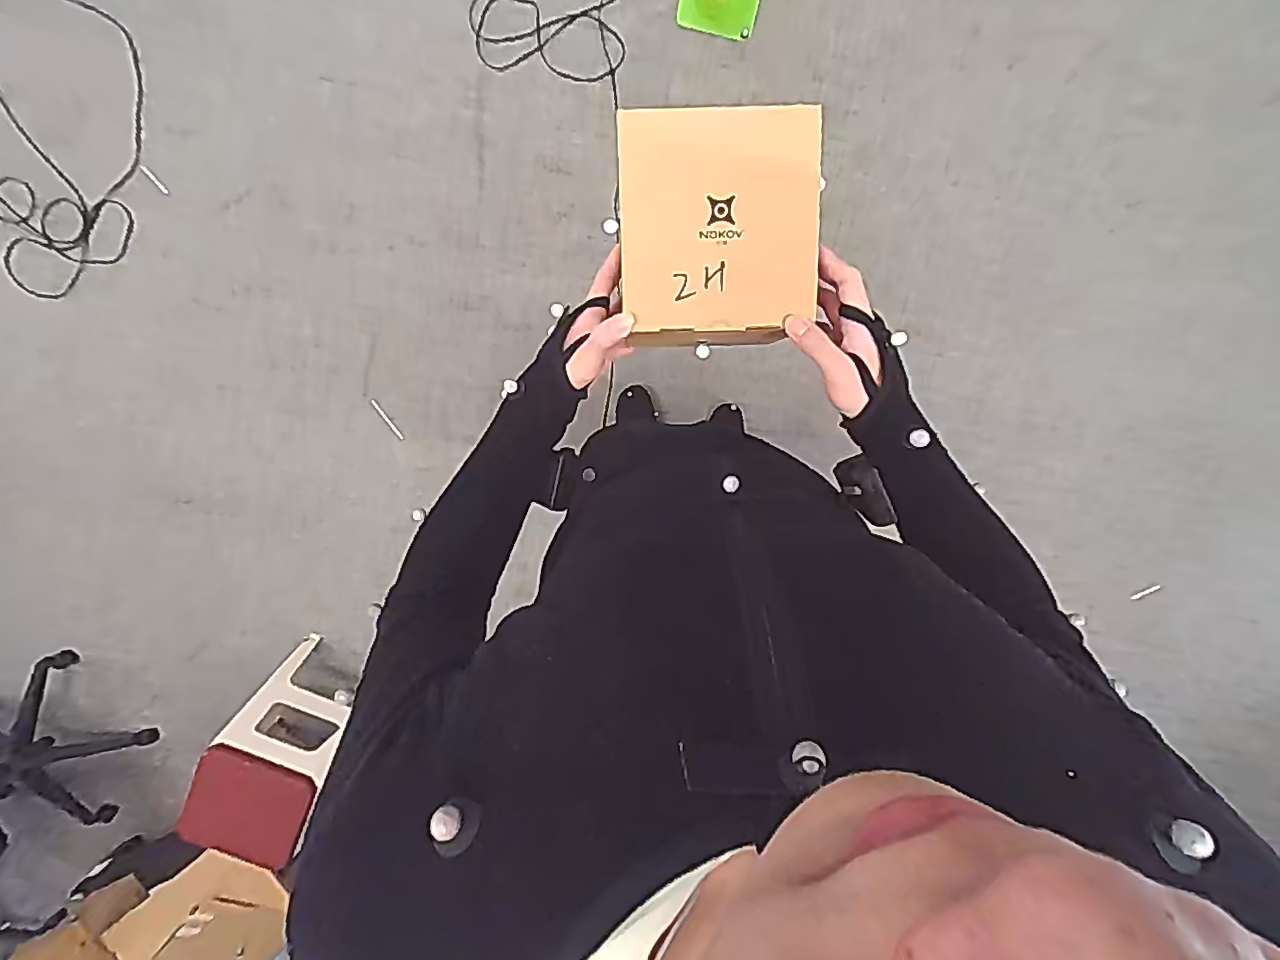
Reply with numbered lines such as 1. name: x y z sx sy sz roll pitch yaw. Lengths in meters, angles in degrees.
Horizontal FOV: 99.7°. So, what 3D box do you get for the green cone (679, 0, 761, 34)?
1. green cone: 0.205 -1.214 1.186 0.202 0.368 0.200 12 100 0
